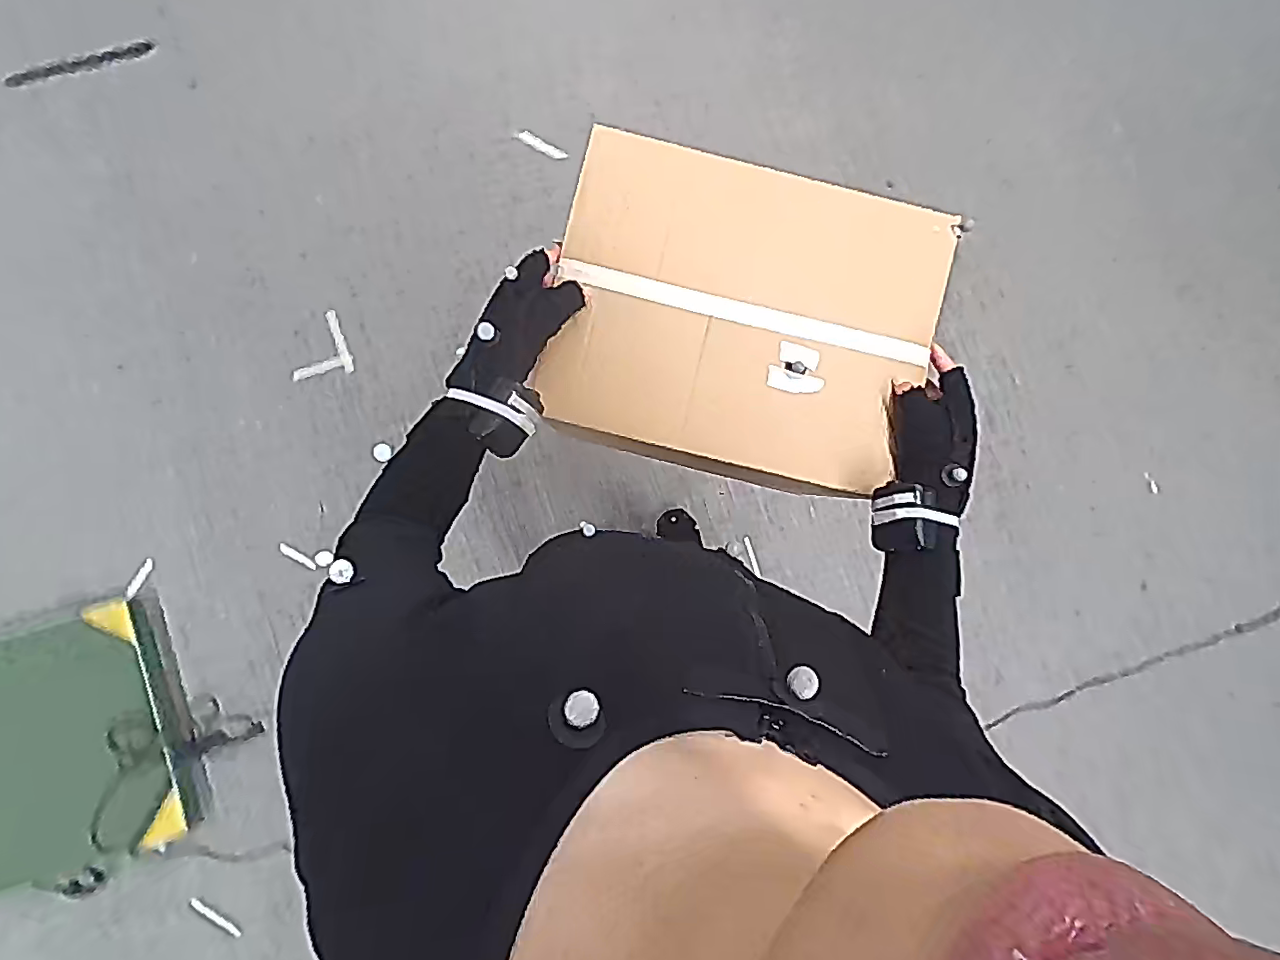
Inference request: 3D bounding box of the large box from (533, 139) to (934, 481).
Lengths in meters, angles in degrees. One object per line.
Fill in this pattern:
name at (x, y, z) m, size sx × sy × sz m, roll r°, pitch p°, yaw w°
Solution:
large box at (0.098, -0.185, 0.737) m, size 0.408 × 0.320 × 0.320 m, roll 12°, pitch 90°, yaw -2°
